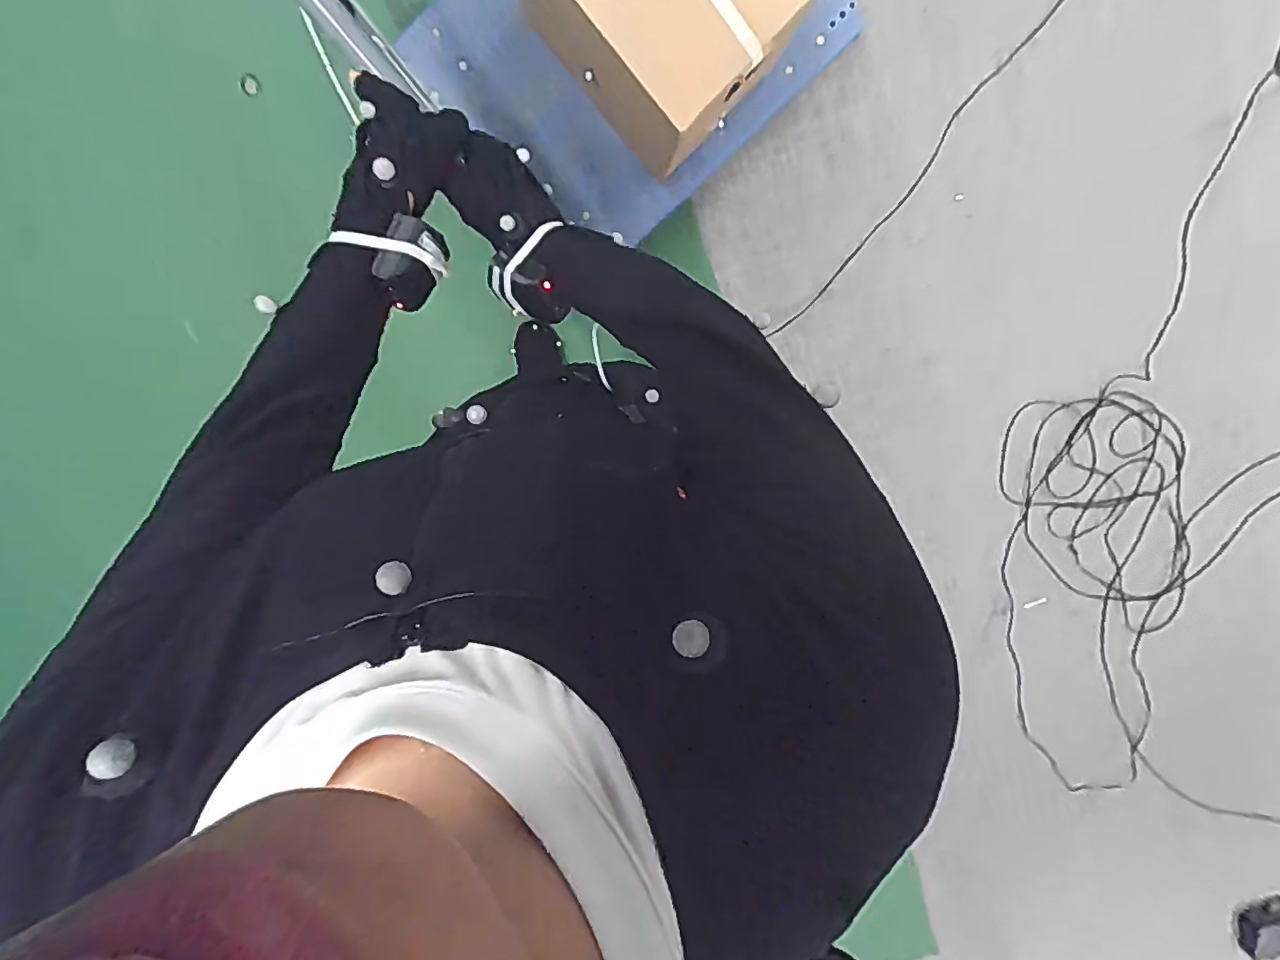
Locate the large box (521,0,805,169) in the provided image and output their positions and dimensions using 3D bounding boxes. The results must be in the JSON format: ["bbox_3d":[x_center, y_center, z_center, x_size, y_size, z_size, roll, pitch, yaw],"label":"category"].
[{"bbox_3d":[0.025,-0.837,0.921,0.320,0.320,0.408,-43,105,8],"label":"large box"}]
